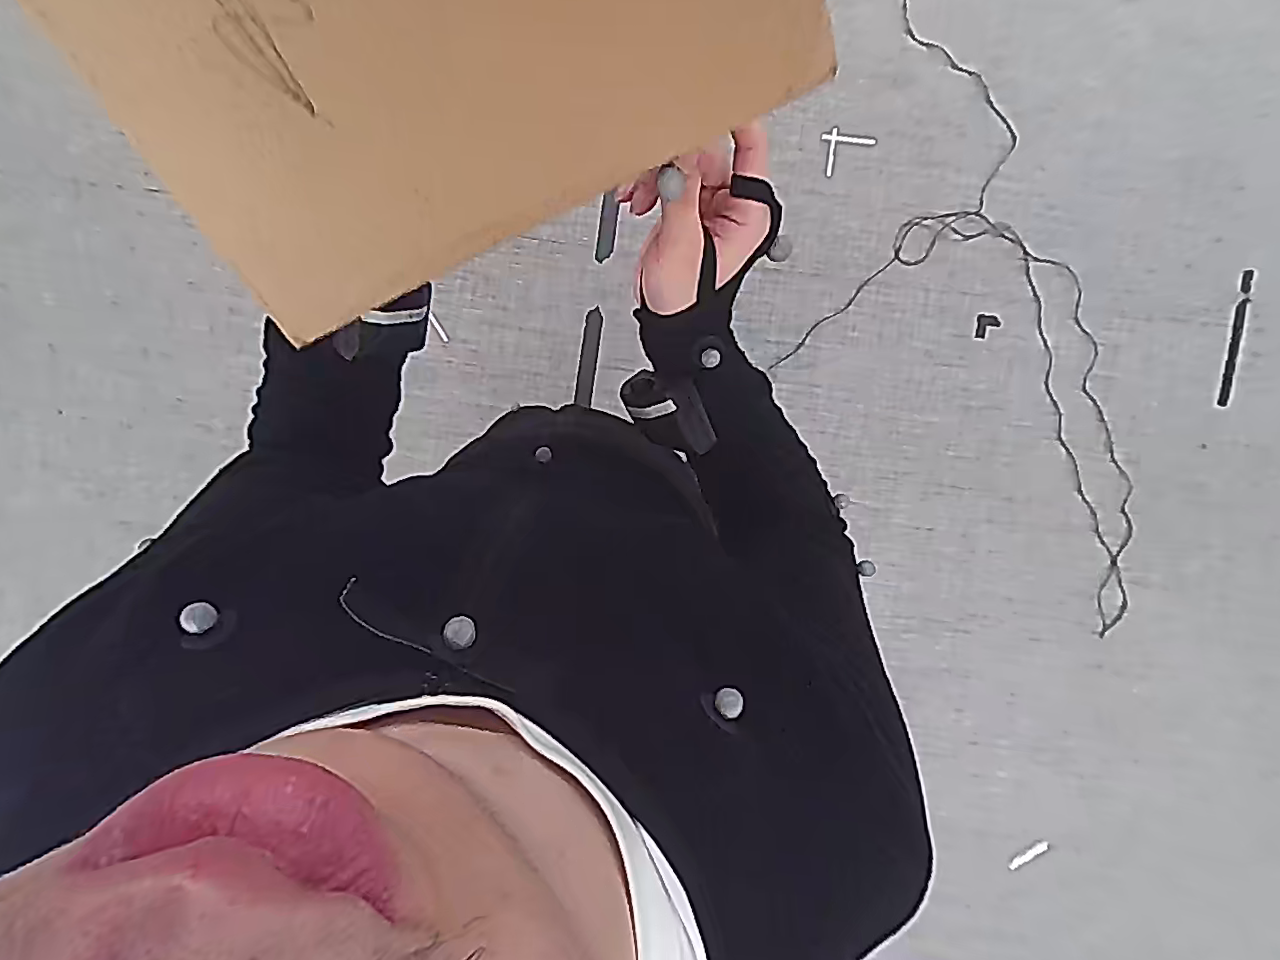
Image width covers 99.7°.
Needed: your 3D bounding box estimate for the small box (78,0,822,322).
[{"bbox_3d":[-0.064,-0.184,0.198,0.179,0.176,0.168,-23,116,8],"label":"small box"}]
